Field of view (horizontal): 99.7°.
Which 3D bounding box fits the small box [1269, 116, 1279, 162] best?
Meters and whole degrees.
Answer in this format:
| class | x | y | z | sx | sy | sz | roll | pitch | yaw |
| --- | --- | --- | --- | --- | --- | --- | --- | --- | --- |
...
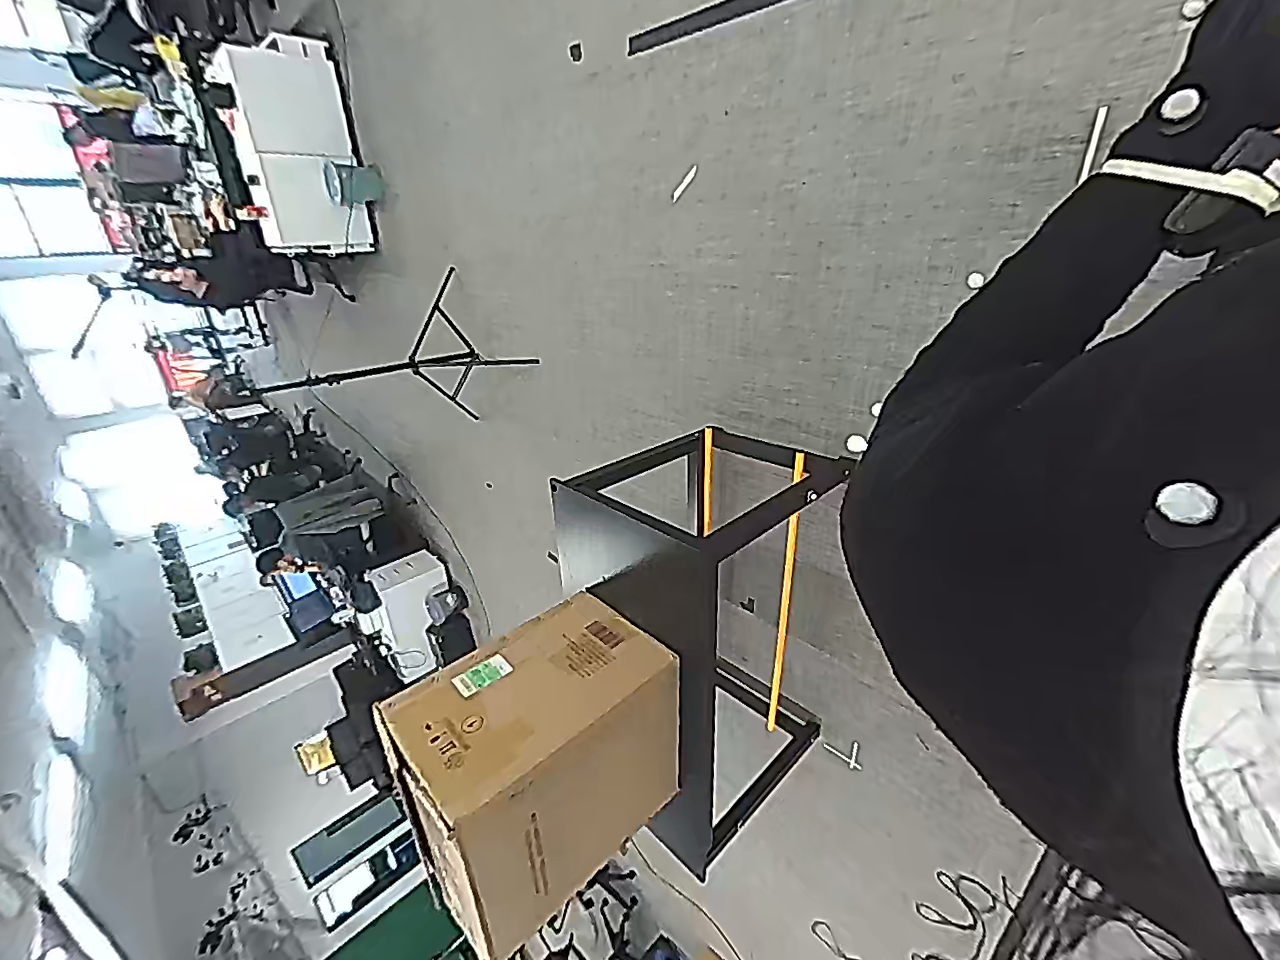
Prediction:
| class | x | y | z | sx | sy | sz | roll | pitch | yaw |
| --- | --- | --- | --- | --- | --- | --- | --- | --- | --- |
| small box | 1.063 | -0.575 | 0.786 | 0.168 | 0.176 | 0.179 | 16 | 121 | 46 |
